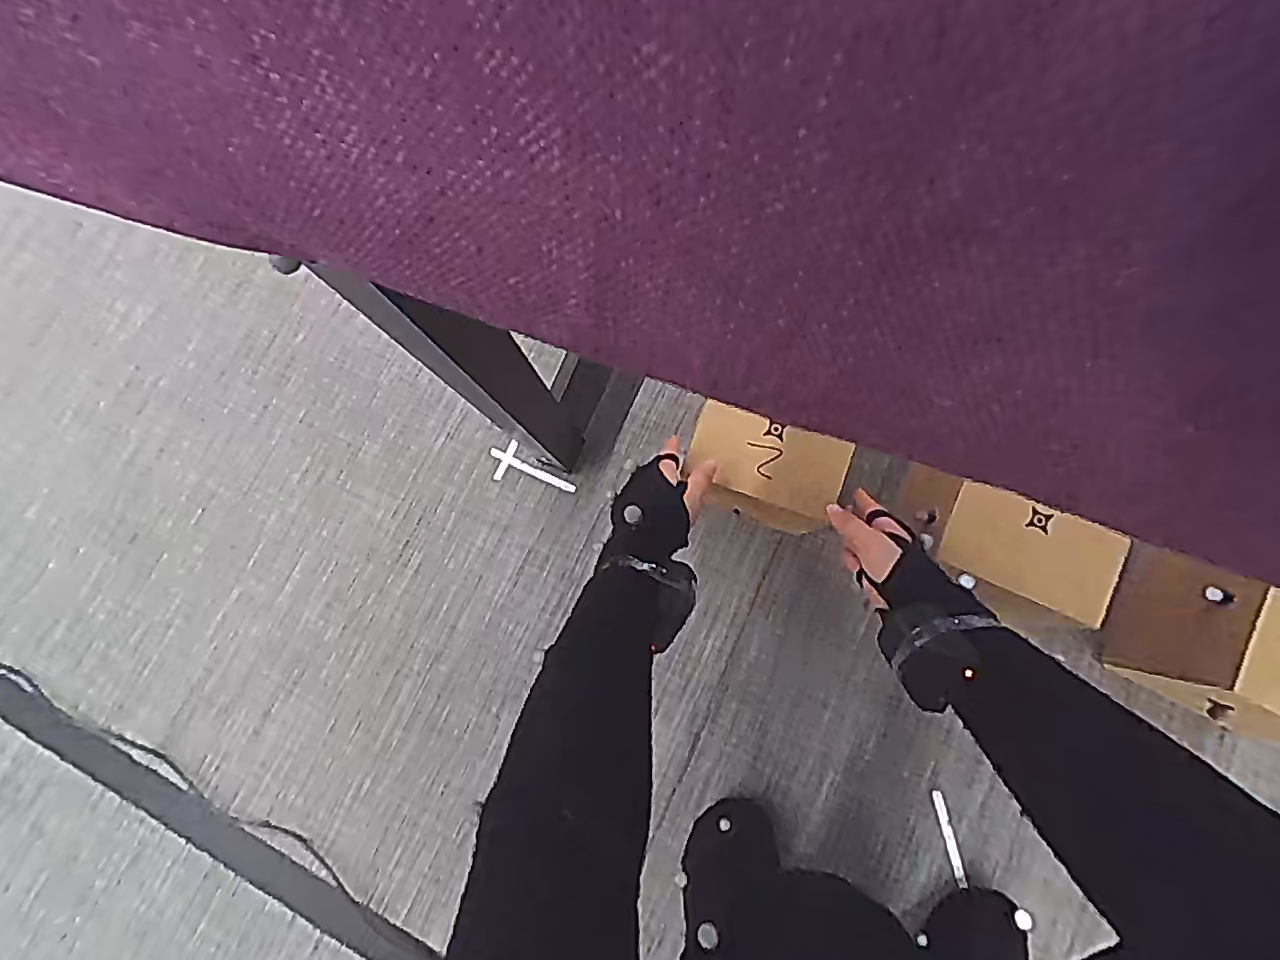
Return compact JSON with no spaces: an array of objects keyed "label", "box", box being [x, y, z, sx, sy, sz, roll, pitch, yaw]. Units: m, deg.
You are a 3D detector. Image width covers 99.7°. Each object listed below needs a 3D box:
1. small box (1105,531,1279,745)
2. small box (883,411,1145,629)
[{"label":"small box","box":[0.667,0.176,0.588,0.168,0.176,0.179,27,82,9]},{"label":"small box","box":[0.409,0.051,0.626,0.168,0.176,0.179,25,81,8]}]
